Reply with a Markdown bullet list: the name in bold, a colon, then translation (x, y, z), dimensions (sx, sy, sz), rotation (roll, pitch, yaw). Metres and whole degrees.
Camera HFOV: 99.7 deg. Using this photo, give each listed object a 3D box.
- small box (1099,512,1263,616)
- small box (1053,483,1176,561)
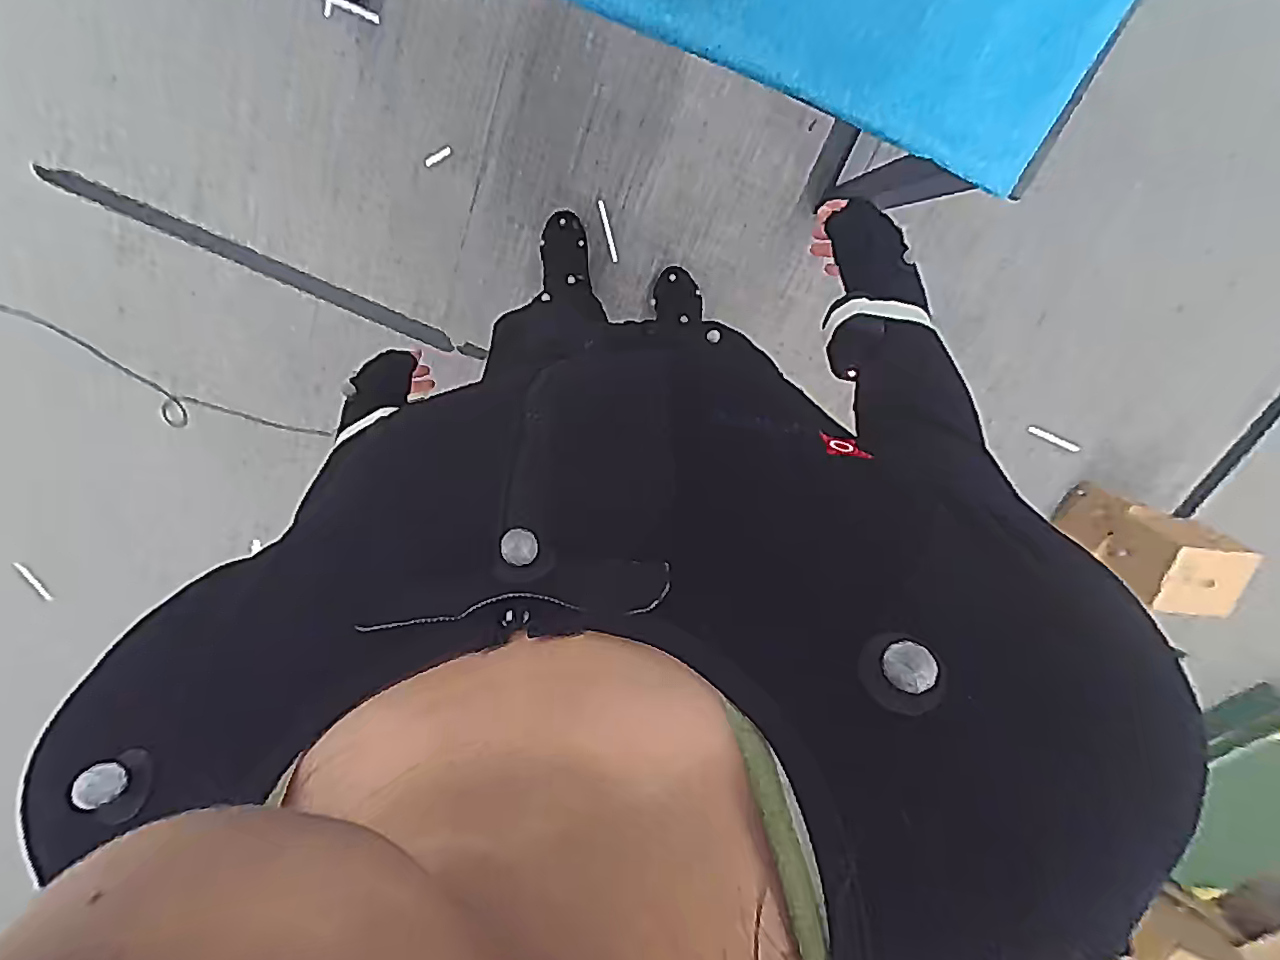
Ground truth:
- **small box**: translation (1.250, 0.190, 1.265), dimensions (0.179, 0.176, 0.168), rotation (10, 112, 2)
- **small box**: translation (1.247, 0.125, 1.417), dimensions (0.179, 0.176, 0.168), rotation (20, 113, -6)
